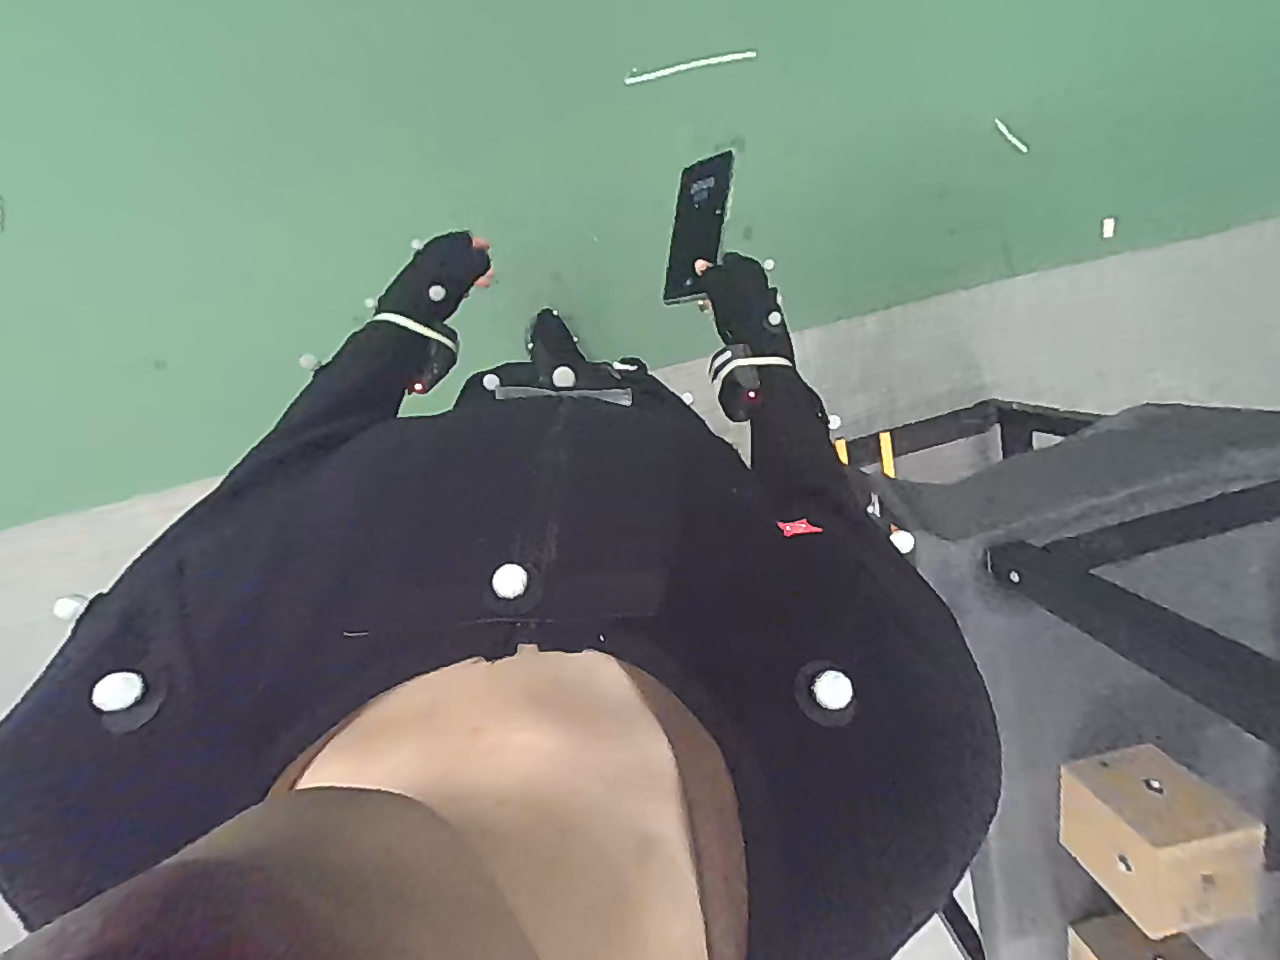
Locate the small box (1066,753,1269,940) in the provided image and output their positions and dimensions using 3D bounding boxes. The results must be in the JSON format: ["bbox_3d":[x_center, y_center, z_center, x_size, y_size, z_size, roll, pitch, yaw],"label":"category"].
[{"bbox_3d":[0.825,0.568,0.864,0.168,0.176,0.179,-12,104,-1],"label":"small box"}]
